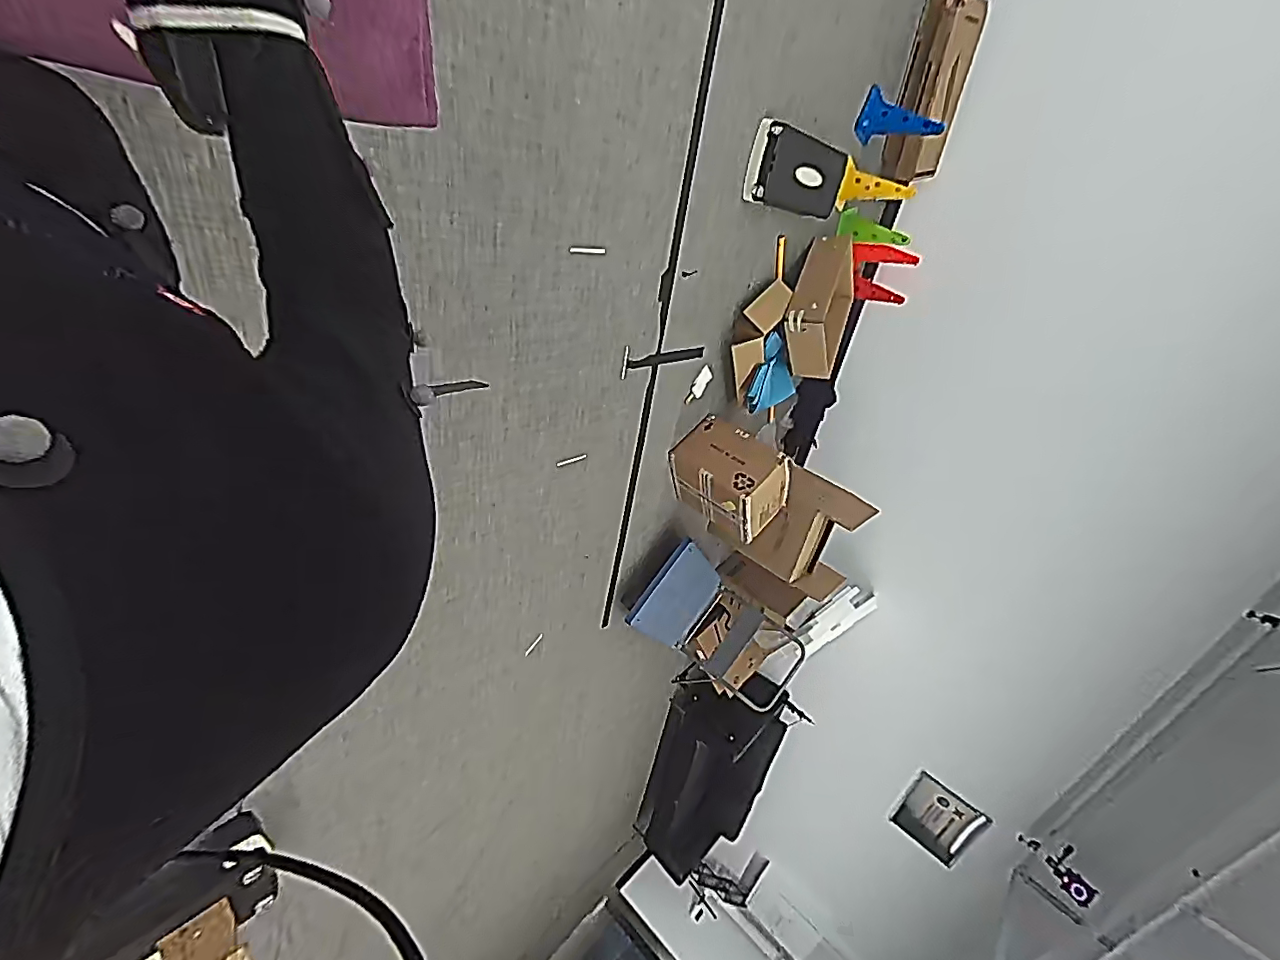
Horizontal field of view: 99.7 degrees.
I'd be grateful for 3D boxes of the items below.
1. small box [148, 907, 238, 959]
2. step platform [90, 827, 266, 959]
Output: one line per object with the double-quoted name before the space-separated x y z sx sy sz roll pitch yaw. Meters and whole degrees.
"small box" -1.282 1.397 1.562 0.168 0.176 0.179 -21 133 -45
"step platform" -1.502 1.370 1.567 0.684 0.204 0.286 -23 135 -45
